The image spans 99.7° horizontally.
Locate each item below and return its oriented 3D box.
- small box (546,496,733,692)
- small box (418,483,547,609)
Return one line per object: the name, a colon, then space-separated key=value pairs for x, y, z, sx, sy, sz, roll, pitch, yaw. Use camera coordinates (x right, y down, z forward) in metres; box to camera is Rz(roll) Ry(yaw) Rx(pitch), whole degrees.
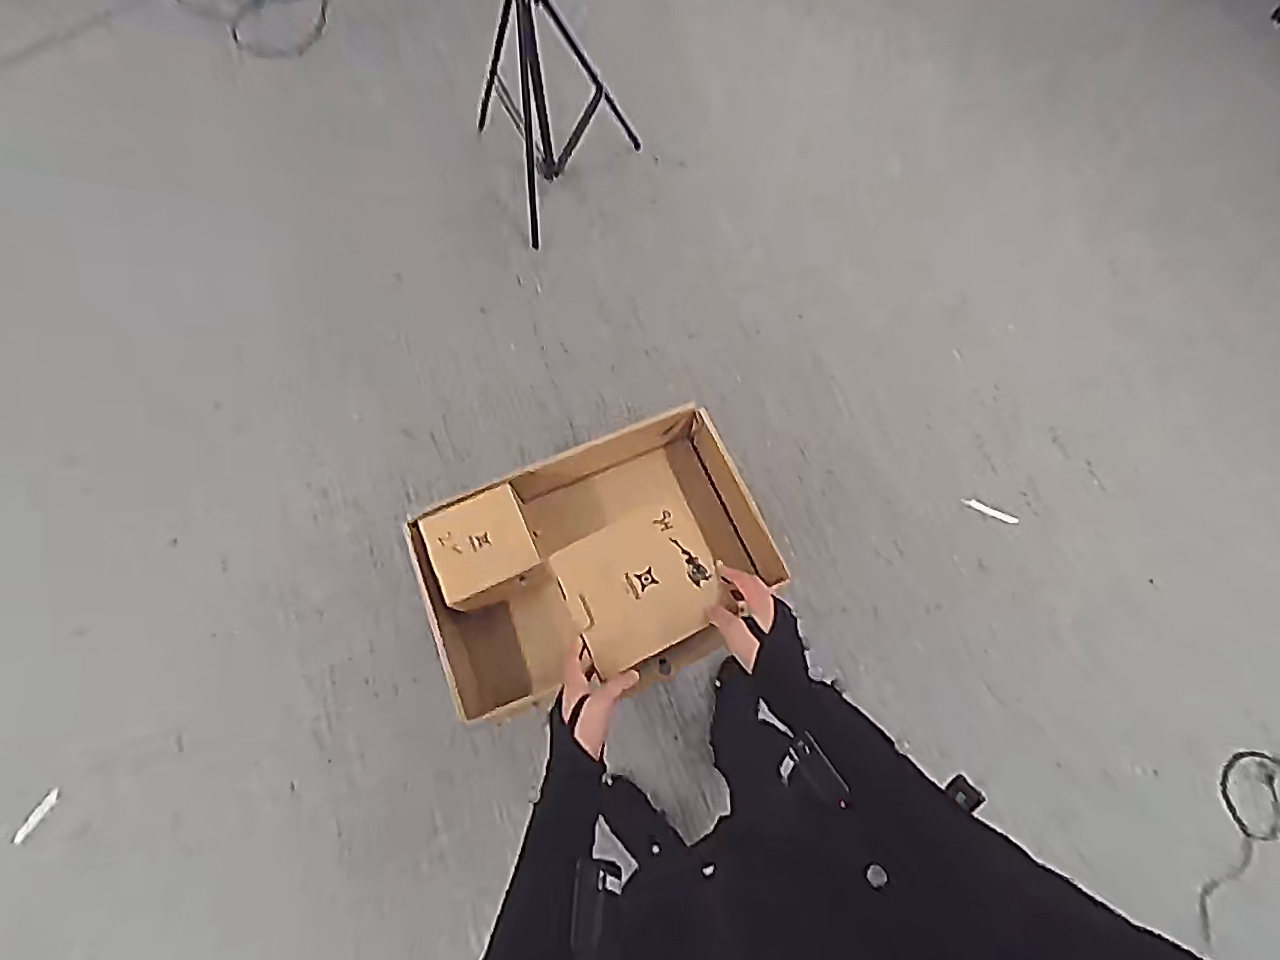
small box: x=0.005 y=0.155 z=0.701 sx=0.179 sy=0.176 sz=0.168 roll=-26 pitch=62 yaw=-7
small box: x=-0.286 y=0.131 z=1.025 sx=0.179 sy=0.176 sz=0.168 roll=-24 pitch=73 yaw=-8
